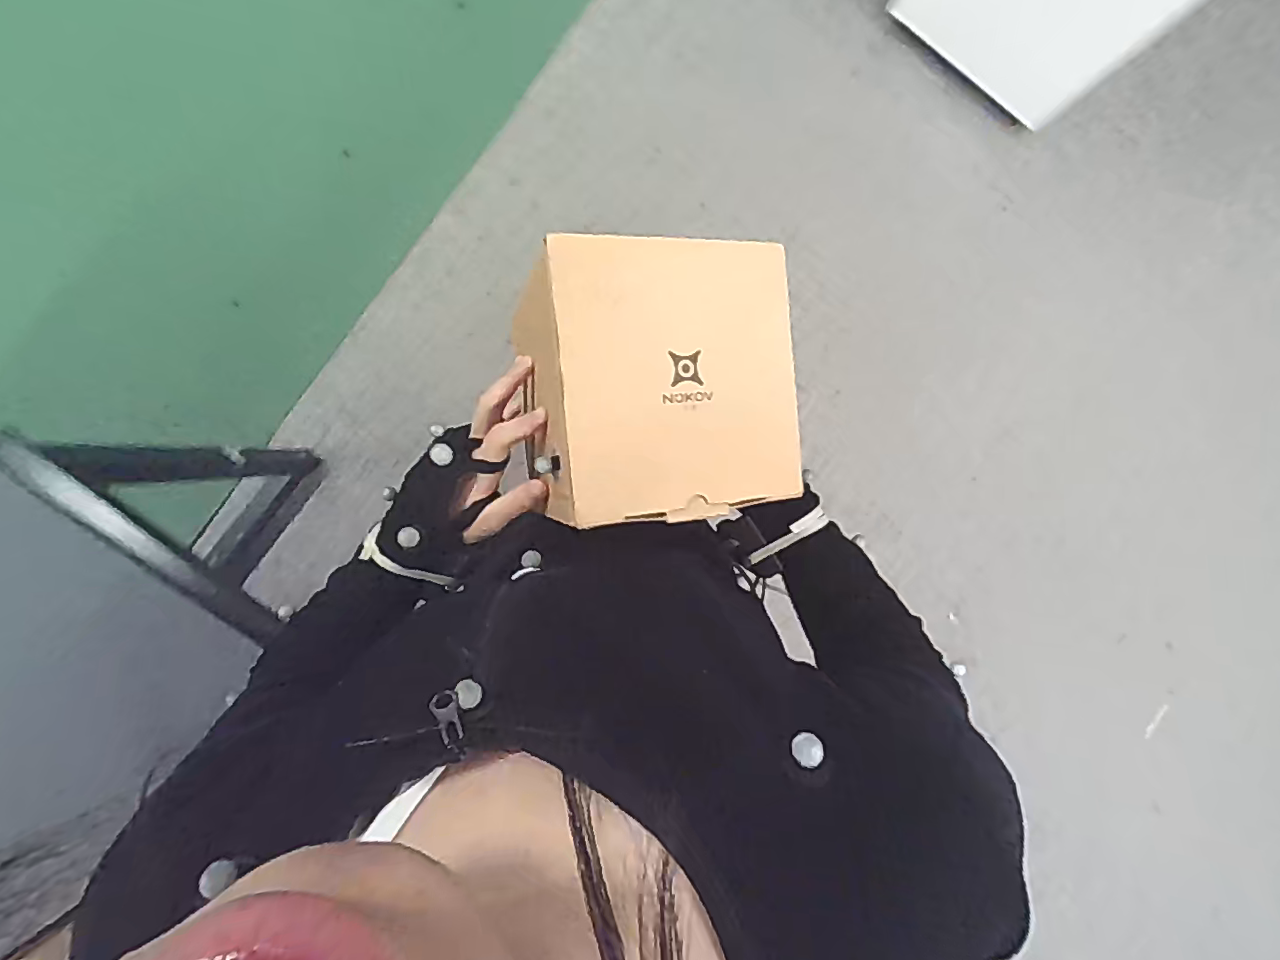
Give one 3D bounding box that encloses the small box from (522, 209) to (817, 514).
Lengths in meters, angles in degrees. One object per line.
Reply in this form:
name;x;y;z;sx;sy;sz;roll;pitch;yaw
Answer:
small box;0.009;-0.072;0.407;0.168;0.176;0.179;-5;93;-20
